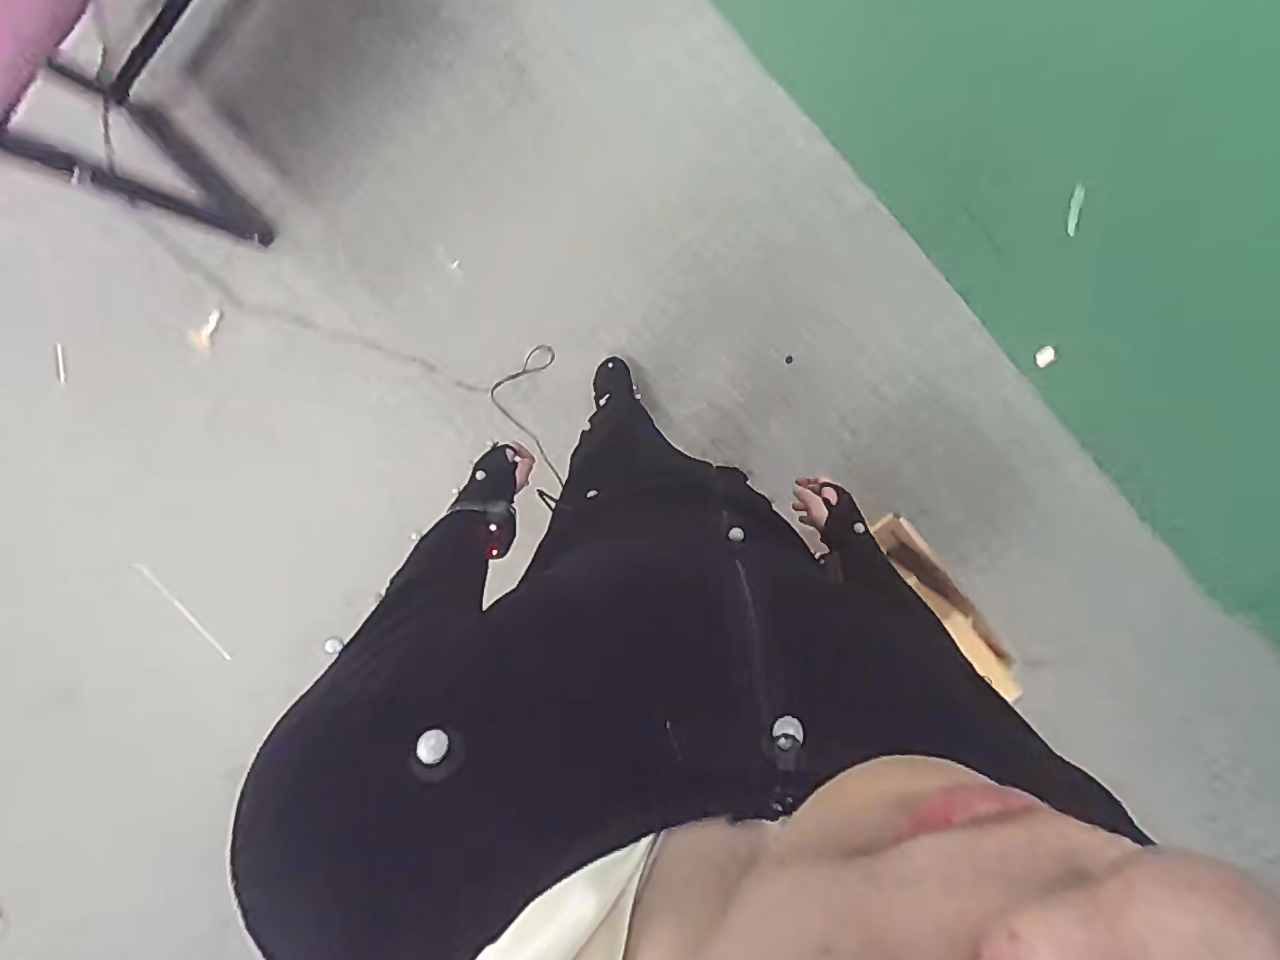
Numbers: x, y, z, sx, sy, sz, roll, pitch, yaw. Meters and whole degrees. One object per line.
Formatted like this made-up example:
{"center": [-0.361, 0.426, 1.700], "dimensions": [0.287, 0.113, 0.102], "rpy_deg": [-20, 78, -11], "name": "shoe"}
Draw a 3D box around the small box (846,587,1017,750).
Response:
{"center": [0.498, 0.320, 0.951], "dimensions": [0.168, 0.176, 0.179], "rpy_deg": [-38, 93, 9], "name": "small box"}
